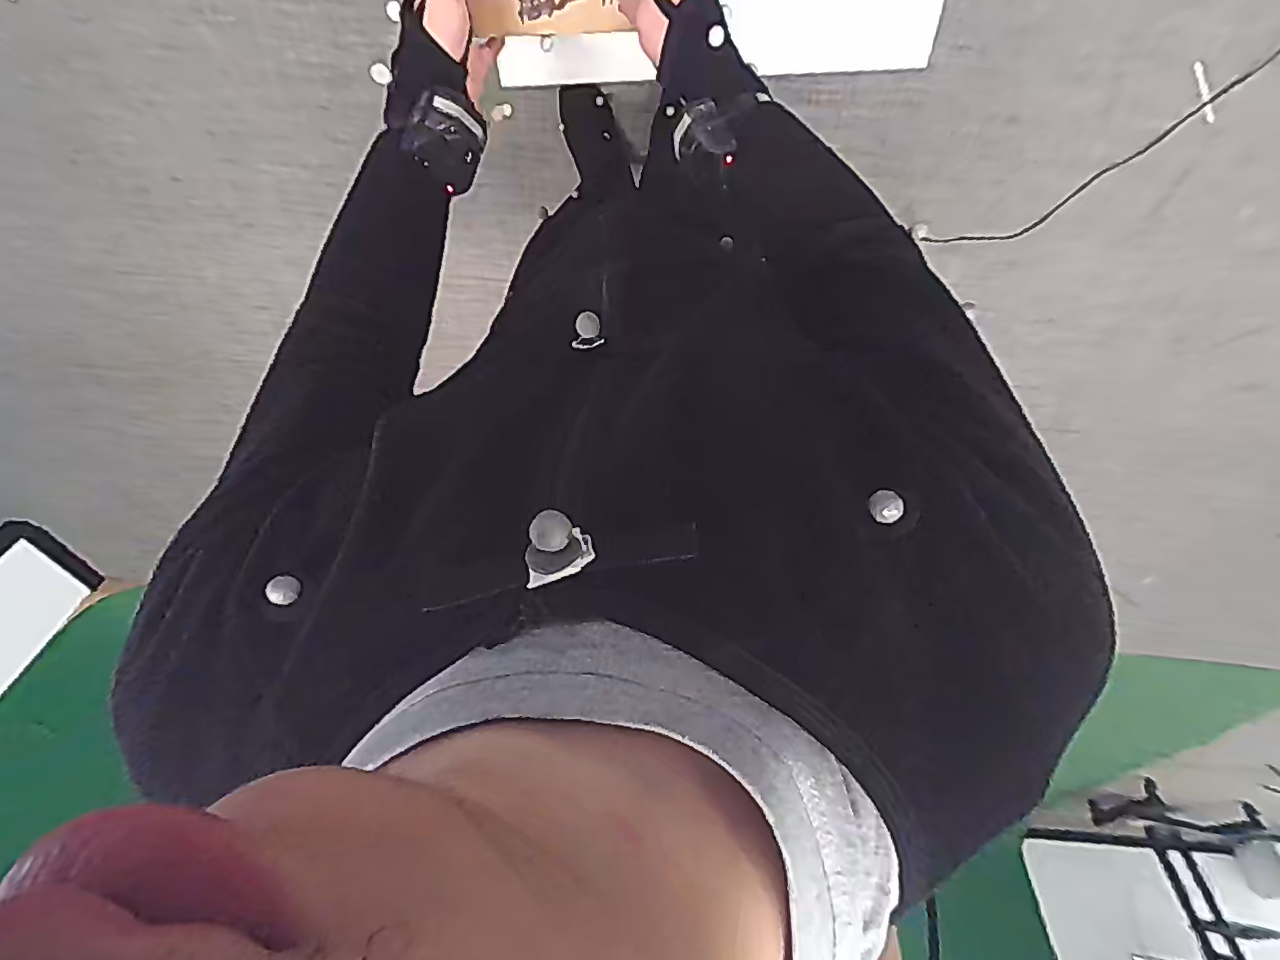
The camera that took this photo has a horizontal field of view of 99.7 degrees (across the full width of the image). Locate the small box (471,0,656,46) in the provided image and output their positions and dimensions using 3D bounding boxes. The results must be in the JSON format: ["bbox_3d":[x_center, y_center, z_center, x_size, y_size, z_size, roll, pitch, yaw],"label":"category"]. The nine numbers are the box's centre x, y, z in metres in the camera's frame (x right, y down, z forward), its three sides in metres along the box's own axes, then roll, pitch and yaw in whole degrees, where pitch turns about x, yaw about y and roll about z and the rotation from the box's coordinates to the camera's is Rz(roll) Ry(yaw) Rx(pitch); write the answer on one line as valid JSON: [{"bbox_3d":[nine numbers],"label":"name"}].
[{"bbox_3d":[-0.071,-0.528,0.504,0.168,0.176,0.179,0,135,4],"label":"small box"}]
